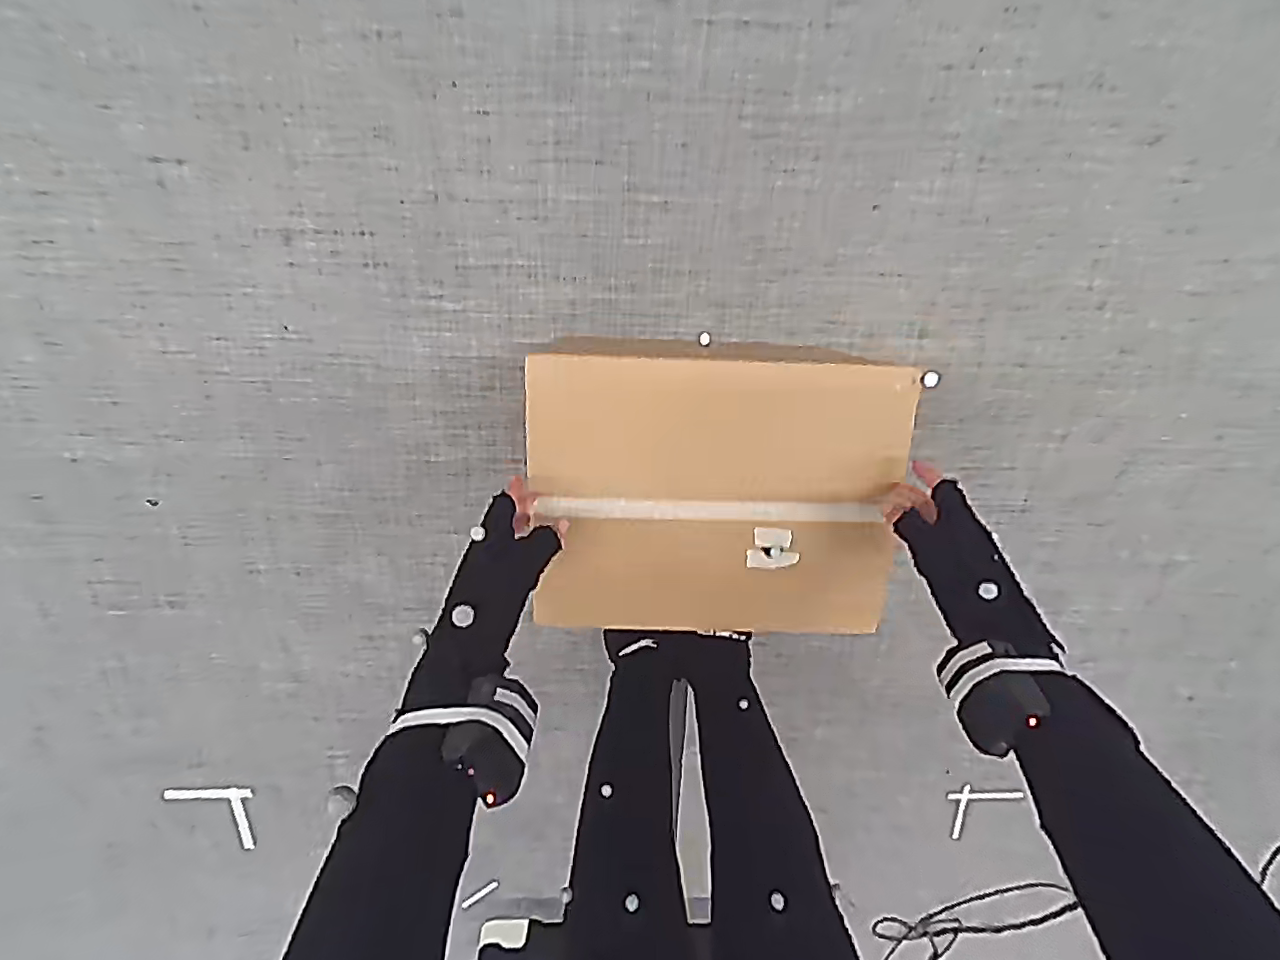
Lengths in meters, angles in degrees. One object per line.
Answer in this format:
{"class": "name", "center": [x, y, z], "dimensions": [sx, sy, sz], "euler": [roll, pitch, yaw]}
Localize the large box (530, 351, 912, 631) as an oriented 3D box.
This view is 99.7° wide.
{"class": "large box", "center": [0.078, -0.011, 0.741], "dimensions": [0.408, 0.320, 0.320], "euler": [1, 108, -2]}
